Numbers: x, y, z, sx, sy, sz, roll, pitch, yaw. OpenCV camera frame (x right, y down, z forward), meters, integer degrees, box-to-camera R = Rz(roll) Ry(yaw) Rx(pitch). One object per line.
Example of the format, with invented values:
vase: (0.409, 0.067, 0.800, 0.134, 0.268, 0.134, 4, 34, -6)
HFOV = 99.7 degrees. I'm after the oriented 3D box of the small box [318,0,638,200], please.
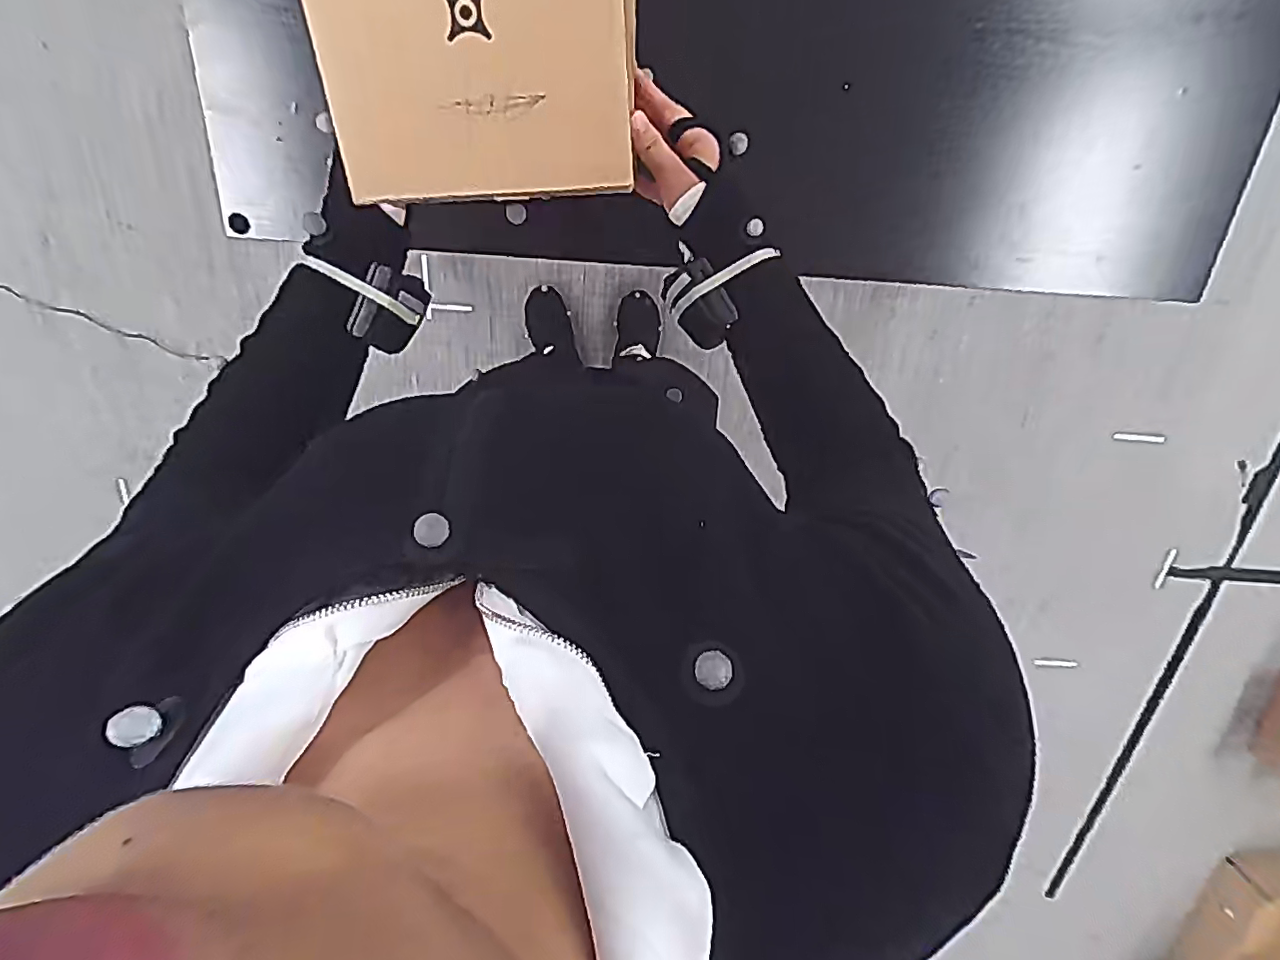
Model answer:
small box: (-0.088, -0.287, 0.356, 0.168, 0.176, 0.179, -3, 118, 1)
